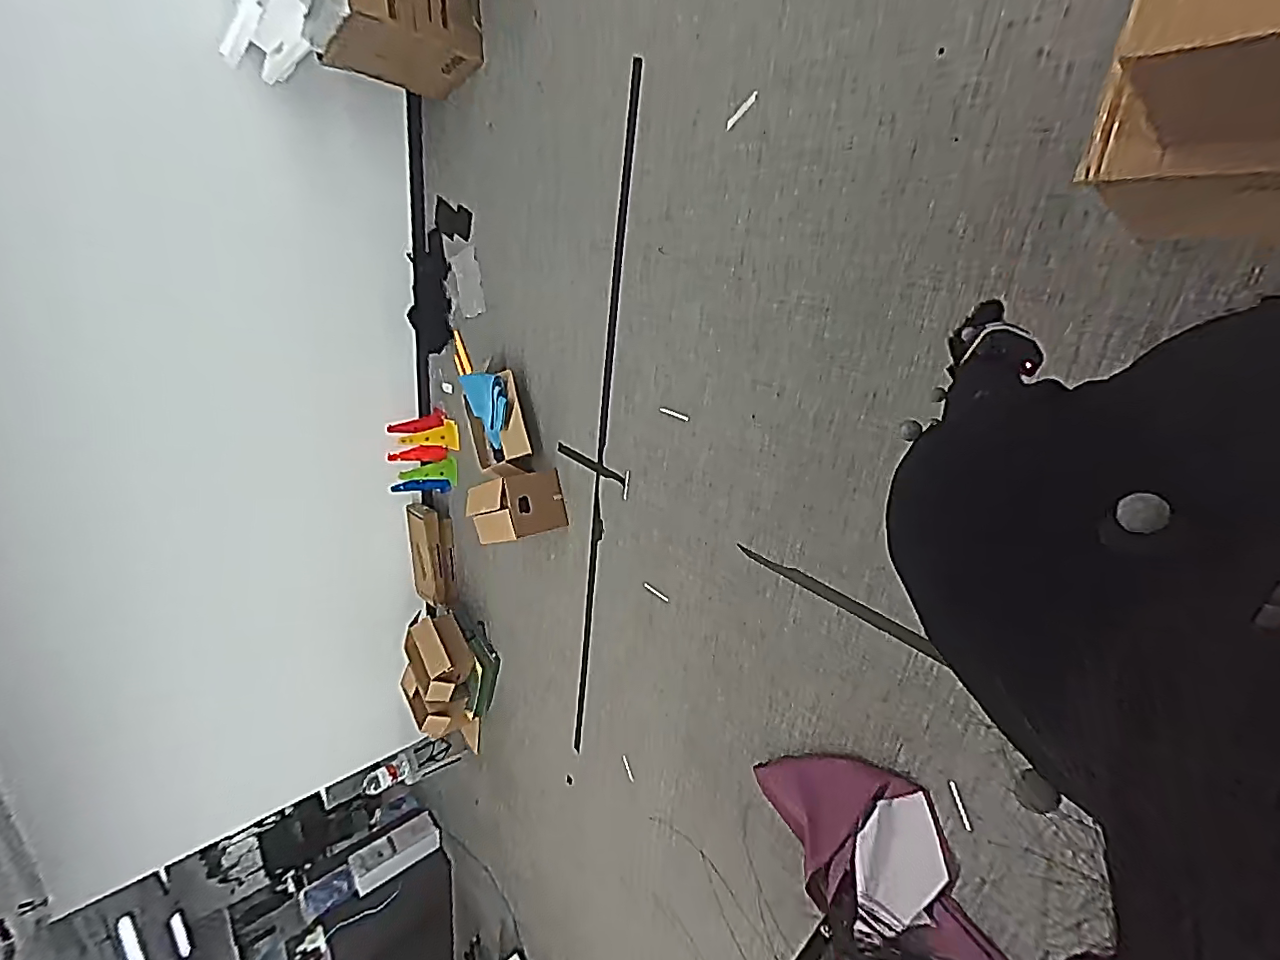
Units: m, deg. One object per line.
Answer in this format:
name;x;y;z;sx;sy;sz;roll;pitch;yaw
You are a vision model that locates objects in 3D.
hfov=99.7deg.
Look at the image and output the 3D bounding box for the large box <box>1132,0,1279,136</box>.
large box;0.639;-0.459;0.347;0.408;0.320;0.320;23;117;42
